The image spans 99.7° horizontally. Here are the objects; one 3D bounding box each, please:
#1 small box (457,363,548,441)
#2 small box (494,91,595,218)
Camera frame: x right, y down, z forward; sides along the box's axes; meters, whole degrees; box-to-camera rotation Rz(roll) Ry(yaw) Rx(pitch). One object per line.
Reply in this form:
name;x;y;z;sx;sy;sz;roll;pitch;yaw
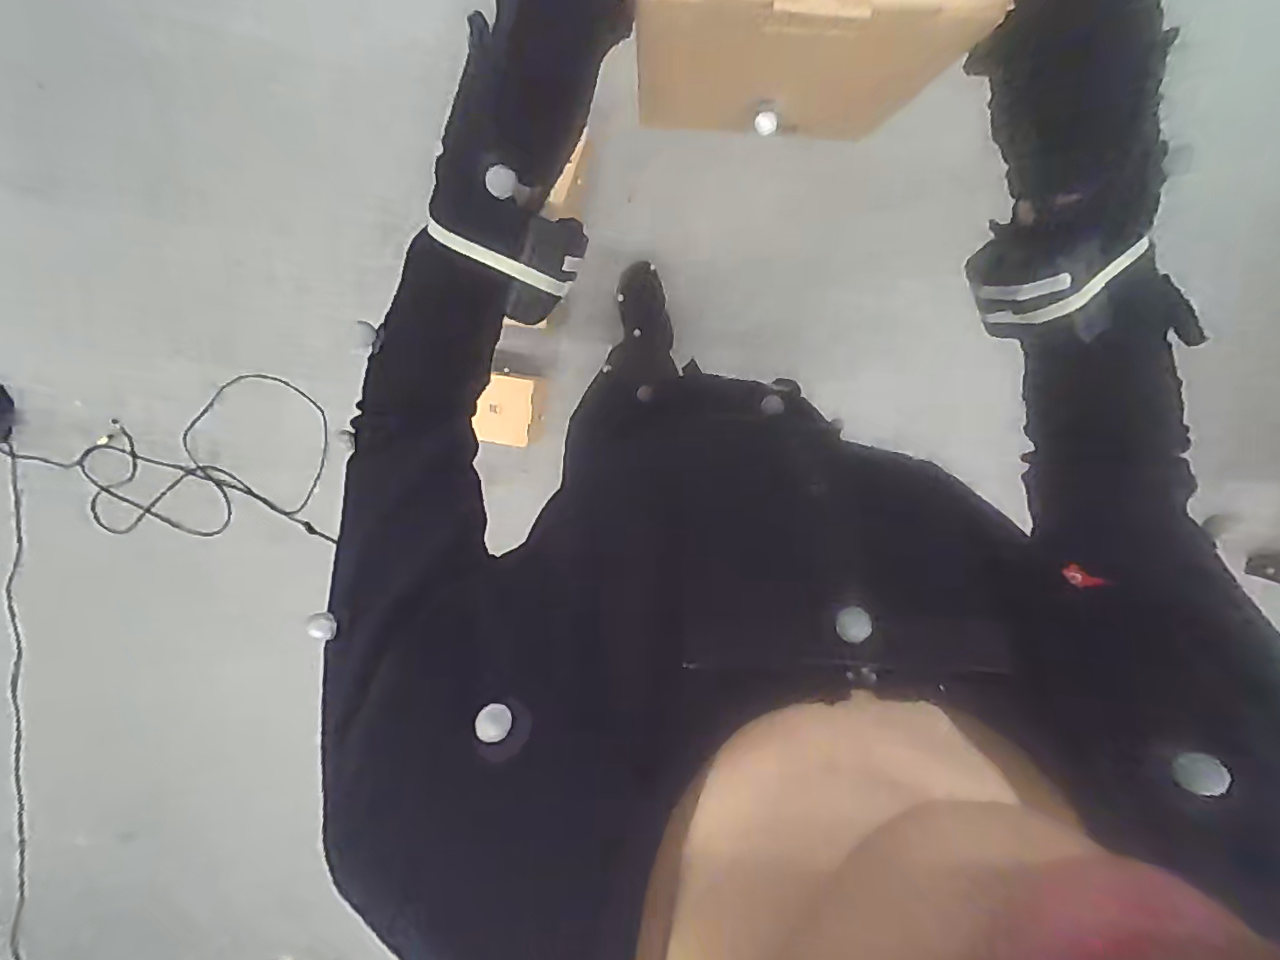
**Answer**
small box;-0.345;-0.201;1.378;0.179;0.176;0.168;9;102;1
small box;-0.213;-0.743;1.259;0.168;0.176;0.179;23;100;-2
